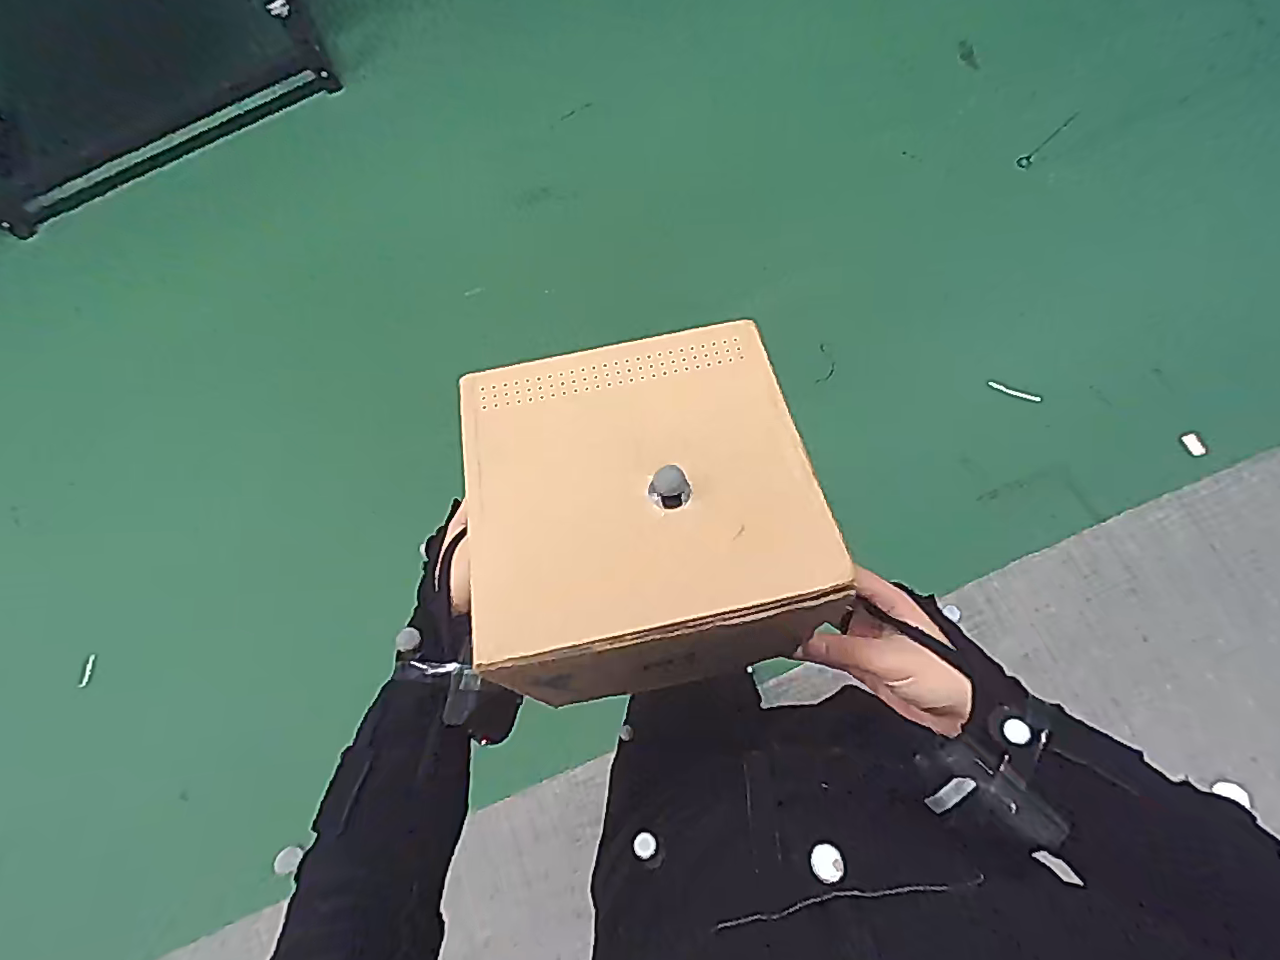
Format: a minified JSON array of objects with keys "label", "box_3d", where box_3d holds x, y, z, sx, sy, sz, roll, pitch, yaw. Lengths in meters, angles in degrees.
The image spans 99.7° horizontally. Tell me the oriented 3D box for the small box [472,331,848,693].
[{"label":"small box","box_3d":[0.002,0.025,0.357,0.179,0.168,0.176,-12,61,-3]}]
